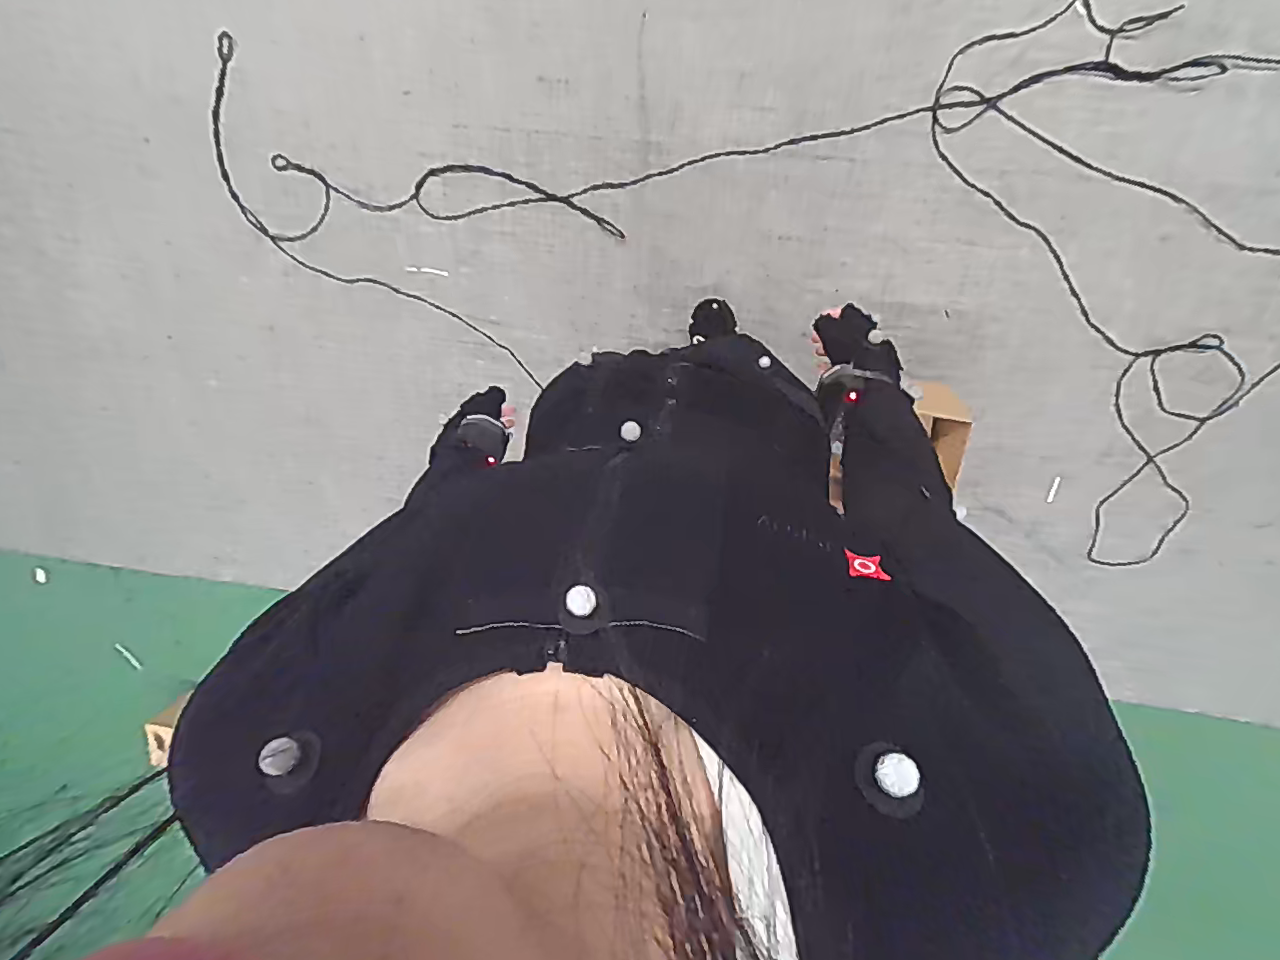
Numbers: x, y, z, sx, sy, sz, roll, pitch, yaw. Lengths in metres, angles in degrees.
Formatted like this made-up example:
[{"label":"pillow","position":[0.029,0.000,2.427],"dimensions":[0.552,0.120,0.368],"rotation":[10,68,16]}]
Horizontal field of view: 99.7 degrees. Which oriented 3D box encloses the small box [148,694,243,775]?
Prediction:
[{"label":"small box","position":[-1.476,0.841,1.803],"dimensions":[0.179,0.176,0.168],"rotation":[8,107,2]}]
